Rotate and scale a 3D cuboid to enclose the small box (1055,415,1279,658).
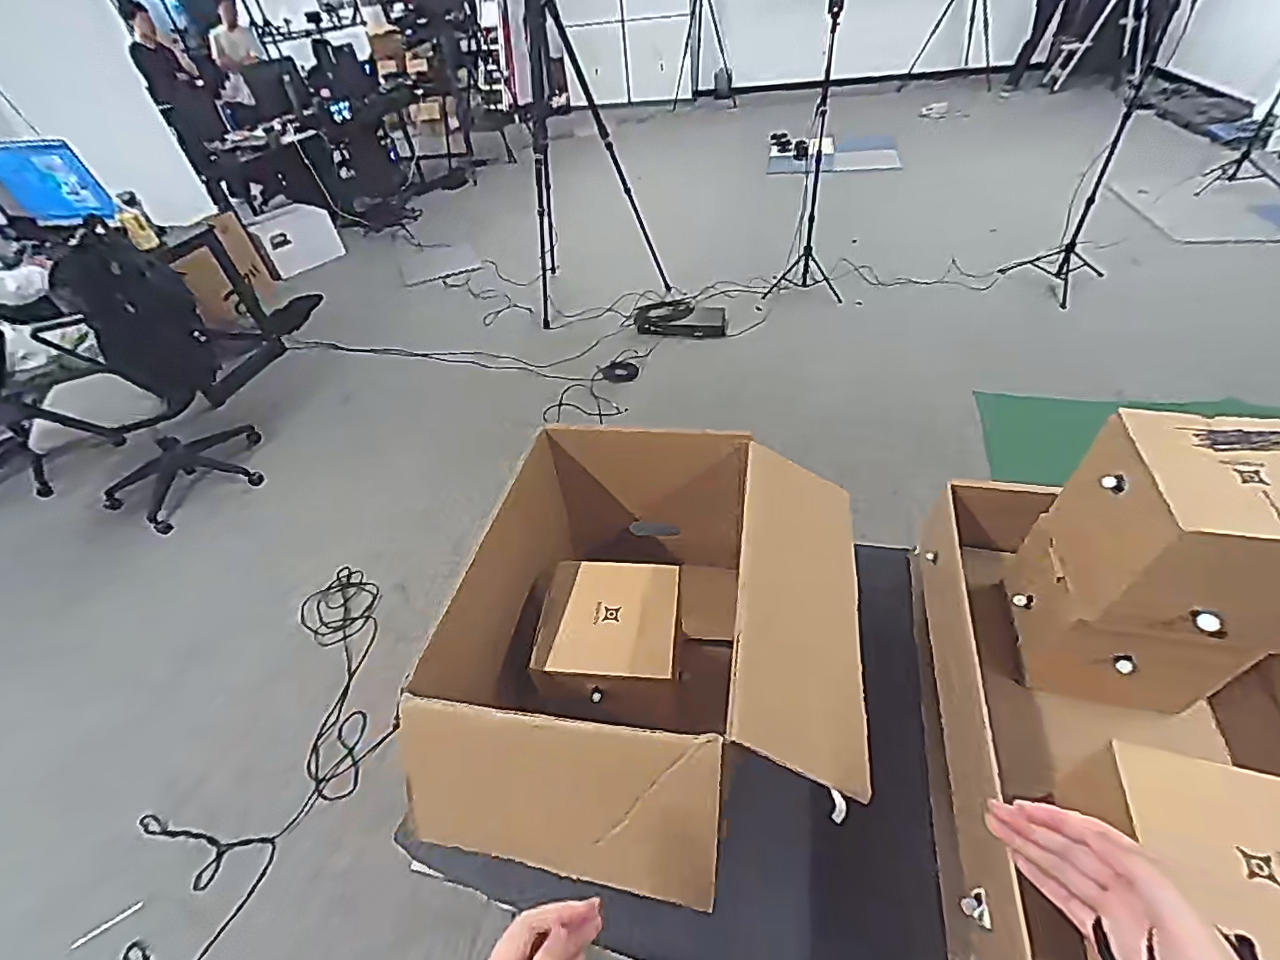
[{"bbox_3d":[0.578,0.056,0.568,0.168,0.176,0.179,7,47,14],"label":"small box"}]
